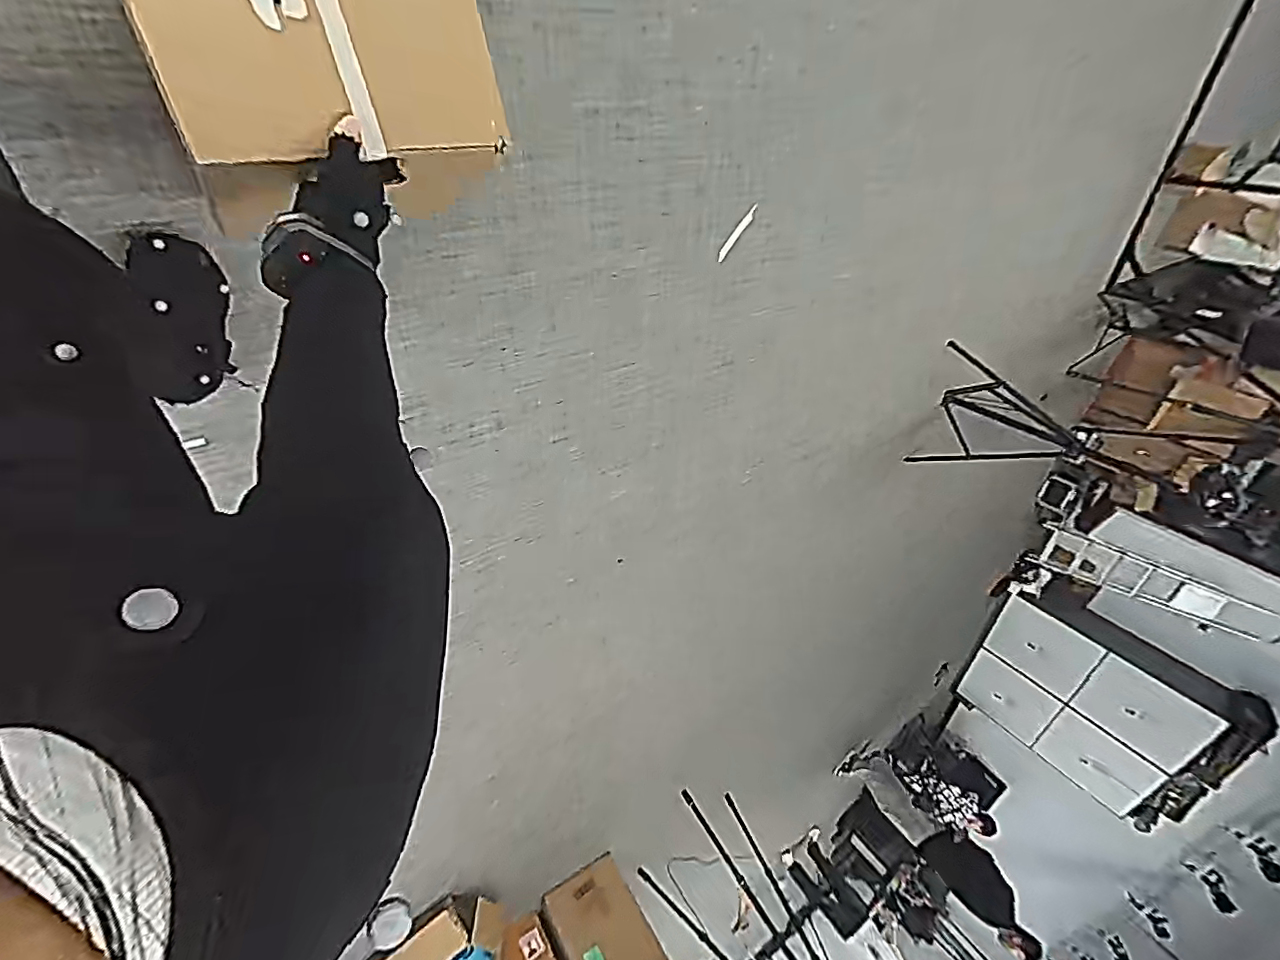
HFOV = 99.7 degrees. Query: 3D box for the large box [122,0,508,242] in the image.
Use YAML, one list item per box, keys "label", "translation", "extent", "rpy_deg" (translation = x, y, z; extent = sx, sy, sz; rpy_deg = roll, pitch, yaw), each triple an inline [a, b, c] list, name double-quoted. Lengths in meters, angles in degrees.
- label: "large box"
  translation: [-0.406, -0.541, 0.634]
  extent: [0.320, 0.320, 0.408]
  rpy_deg: [-23, 110, -27]
